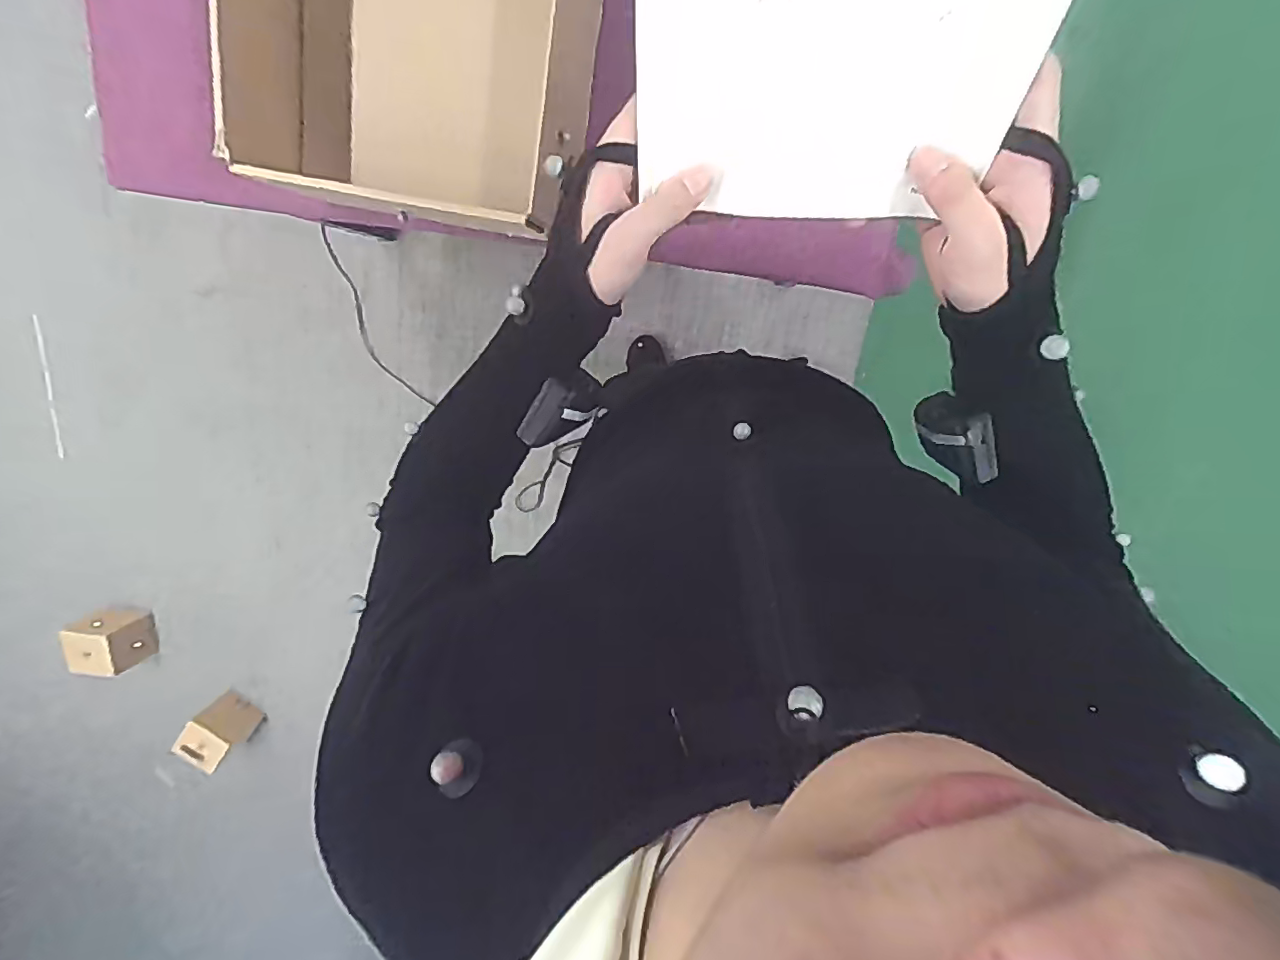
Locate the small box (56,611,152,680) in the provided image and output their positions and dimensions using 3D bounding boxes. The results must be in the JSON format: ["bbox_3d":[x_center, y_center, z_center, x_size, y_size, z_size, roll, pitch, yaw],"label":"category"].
[{"bbox_3d":[-1.874,0.577,1.904,0.179,0.176,0.168,6,105,4],"label":"small box"}]
